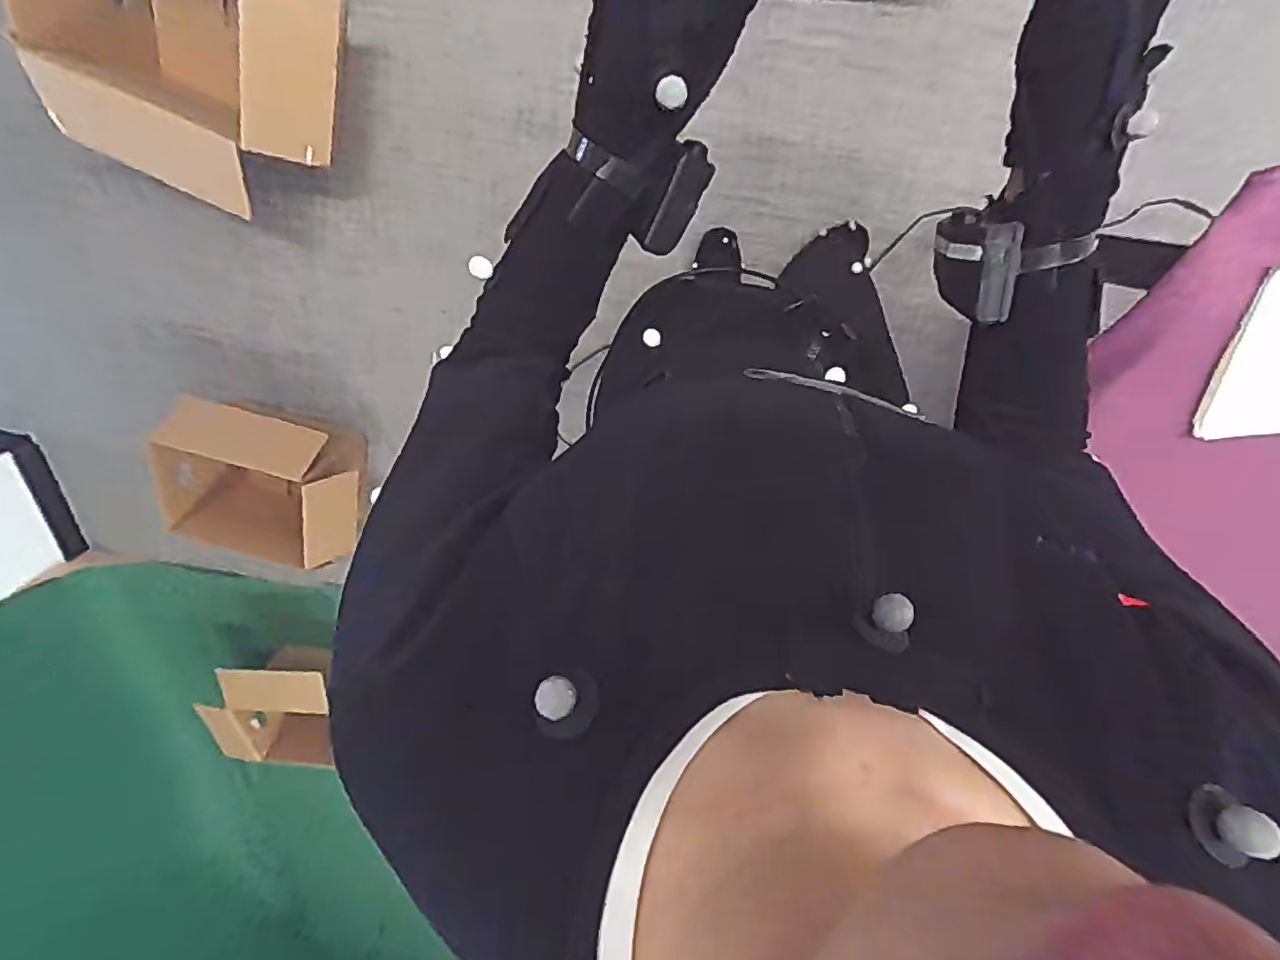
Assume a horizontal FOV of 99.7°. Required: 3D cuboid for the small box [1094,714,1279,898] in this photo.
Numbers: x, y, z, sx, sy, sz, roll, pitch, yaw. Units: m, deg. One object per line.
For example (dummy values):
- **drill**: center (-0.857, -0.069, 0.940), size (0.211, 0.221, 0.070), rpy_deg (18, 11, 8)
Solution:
- **small box**: center (0.818, 0.487, 0.823), size (0.179, 0.176, 0.168), rpy_deg (13, 120, 2)
